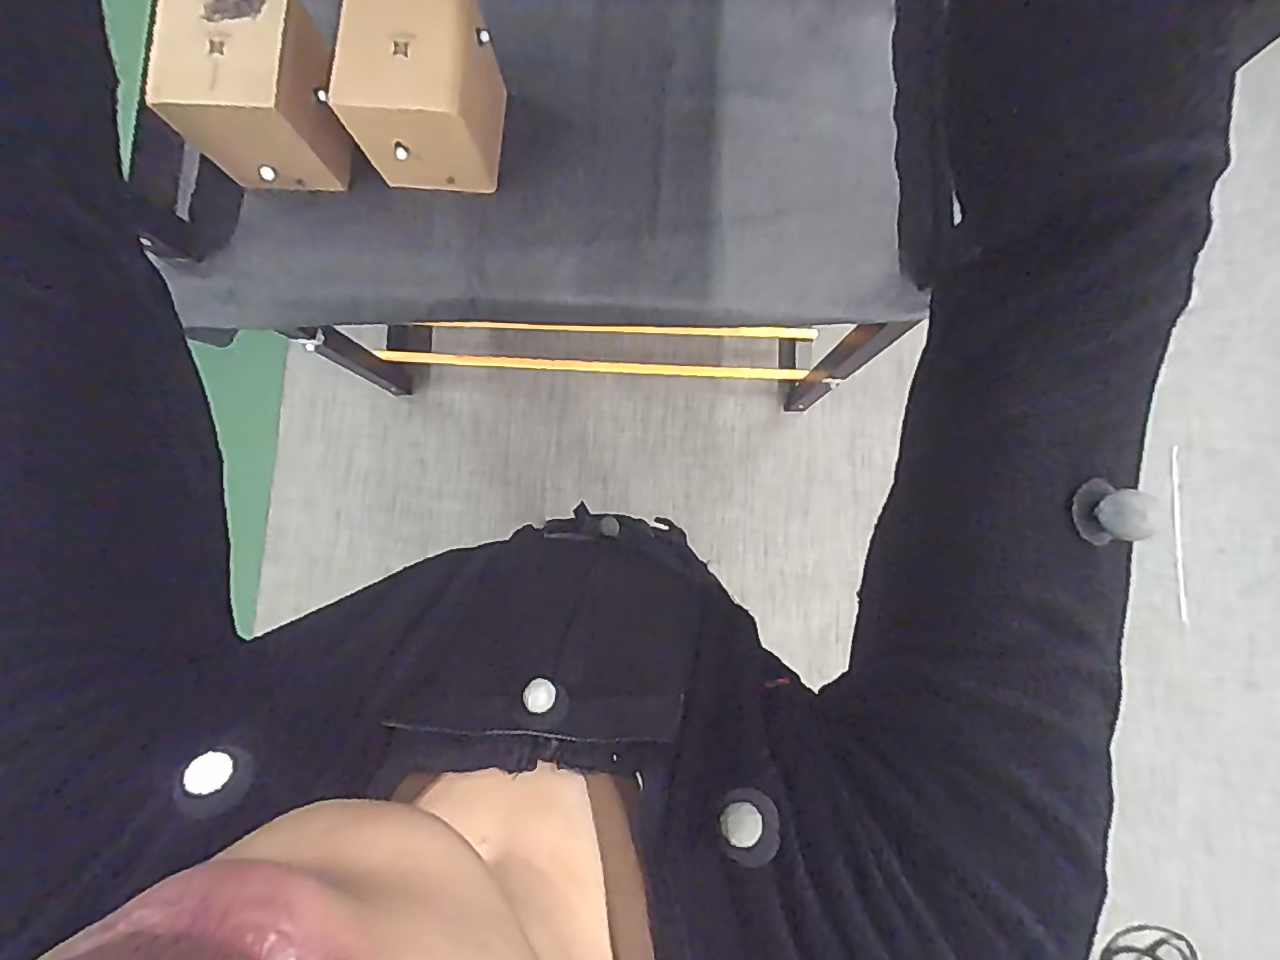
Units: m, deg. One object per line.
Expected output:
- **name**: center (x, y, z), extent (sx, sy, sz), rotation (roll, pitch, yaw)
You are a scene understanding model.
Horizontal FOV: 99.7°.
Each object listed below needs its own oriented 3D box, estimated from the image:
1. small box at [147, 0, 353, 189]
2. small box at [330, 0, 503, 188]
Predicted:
- **small box**: center (-0.526, -0.545, 0.758), extent (0.168, 0.176, 0.179), rotation (3, 85, 0)
- **small box**: center (-0.299, -0.542, 0.759), extent (0.168, 0.176, 0.179), rotation (4, 84, 0)
